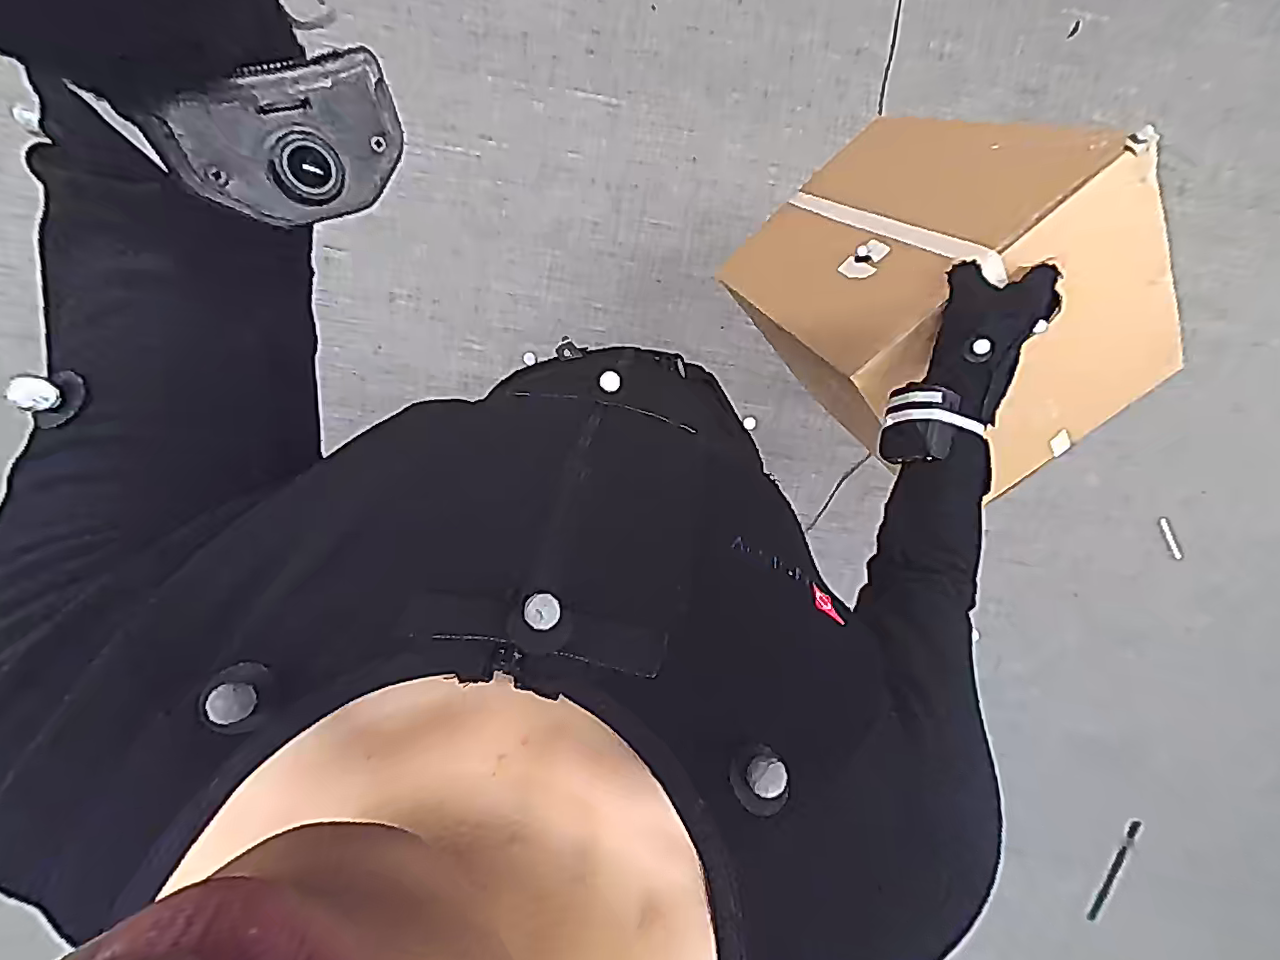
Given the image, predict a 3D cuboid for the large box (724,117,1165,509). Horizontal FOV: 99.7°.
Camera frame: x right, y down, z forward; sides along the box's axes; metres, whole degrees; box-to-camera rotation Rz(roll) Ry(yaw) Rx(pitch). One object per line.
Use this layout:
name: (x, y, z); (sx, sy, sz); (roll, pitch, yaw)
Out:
large box: (0.383, -0.240, 0.749); (0.320, 0.408, 0.320); (-40, 127, 15)
